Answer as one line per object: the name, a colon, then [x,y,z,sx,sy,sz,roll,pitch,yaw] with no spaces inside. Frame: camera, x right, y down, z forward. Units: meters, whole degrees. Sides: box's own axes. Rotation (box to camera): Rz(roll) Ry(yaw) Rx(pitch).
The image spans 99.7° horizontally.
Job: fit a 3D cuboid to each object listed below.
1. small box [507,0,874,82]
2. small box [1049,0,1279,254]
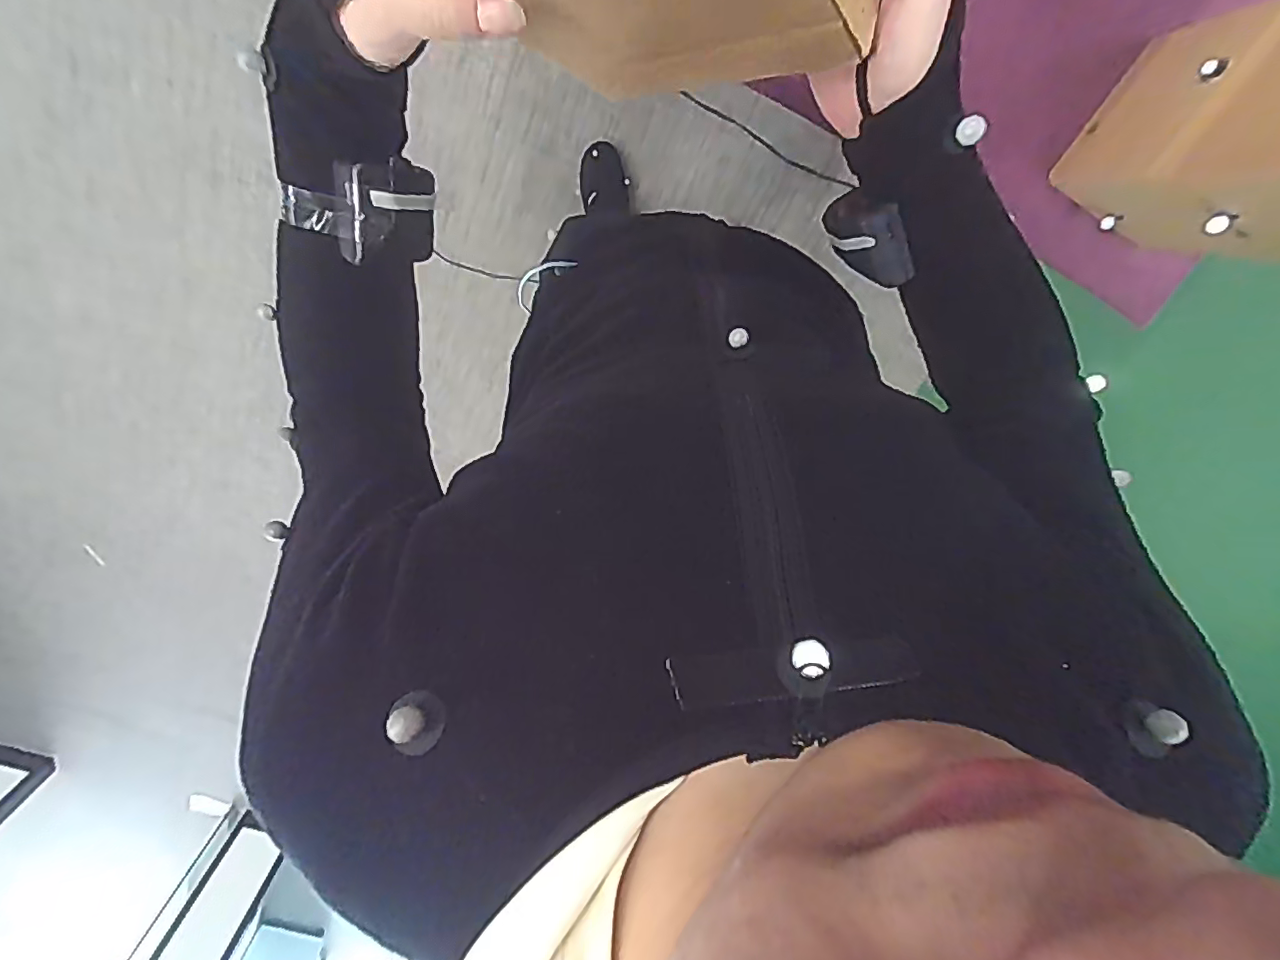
small box: [0.014,-0.316,0.248,0.179,0.176,0.168,16,110,31]
small box: [0.628,-0.383,0.606,0.179,0.176,0.168,26,116,-12]
